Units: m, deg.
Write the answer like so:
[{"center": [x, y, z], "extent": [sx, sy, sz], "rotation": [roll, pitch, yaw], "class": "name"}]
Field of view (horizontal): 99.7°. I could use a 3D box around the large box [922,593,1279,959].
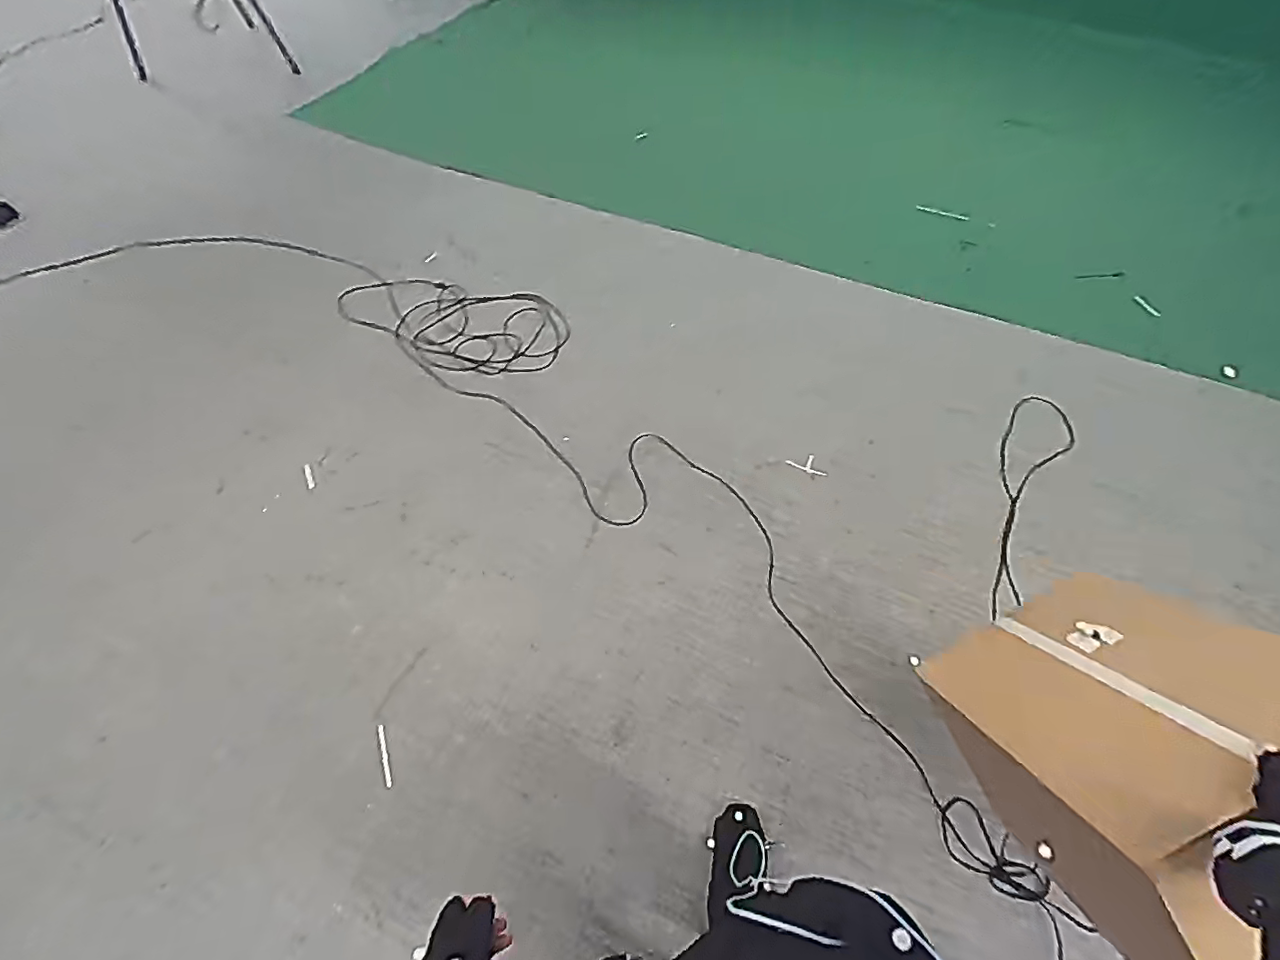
[{"center": [0.664, 0.398, 0.685], "extent": [0.320, 0.408, 0.320], "rotation": [-29, 93, 2], "class": "large box"}]
